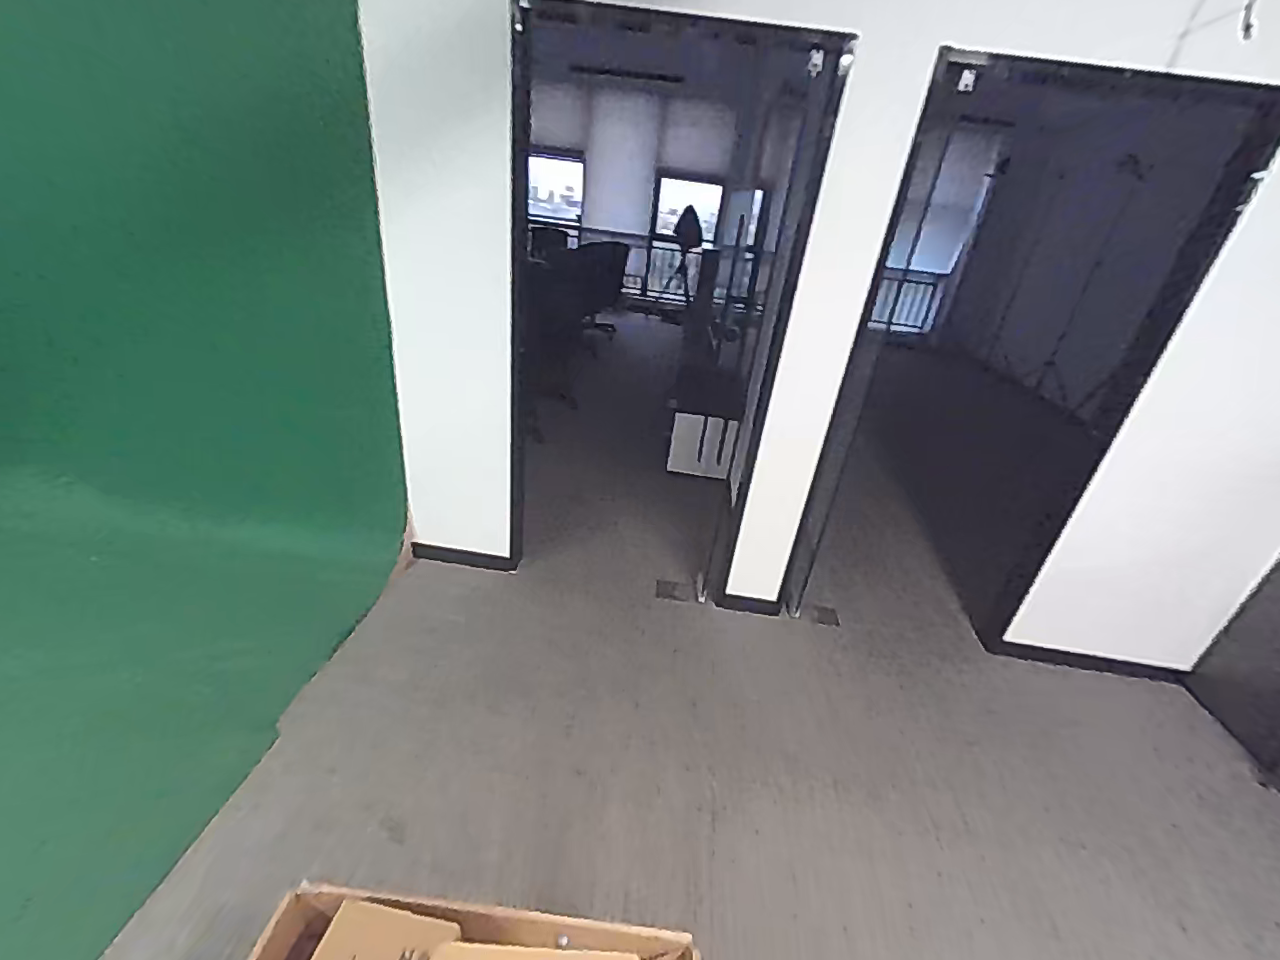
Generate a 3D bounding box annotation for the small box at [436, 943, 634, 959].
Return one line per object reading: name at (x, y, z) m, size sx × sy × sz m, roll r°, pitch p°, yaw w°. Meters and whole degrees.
small box at (-0.092, 0.496, 0.419) m, size 0.168 × 0.176 × 0.179 m, roll 6°, pitch 38°, yaw -3°
